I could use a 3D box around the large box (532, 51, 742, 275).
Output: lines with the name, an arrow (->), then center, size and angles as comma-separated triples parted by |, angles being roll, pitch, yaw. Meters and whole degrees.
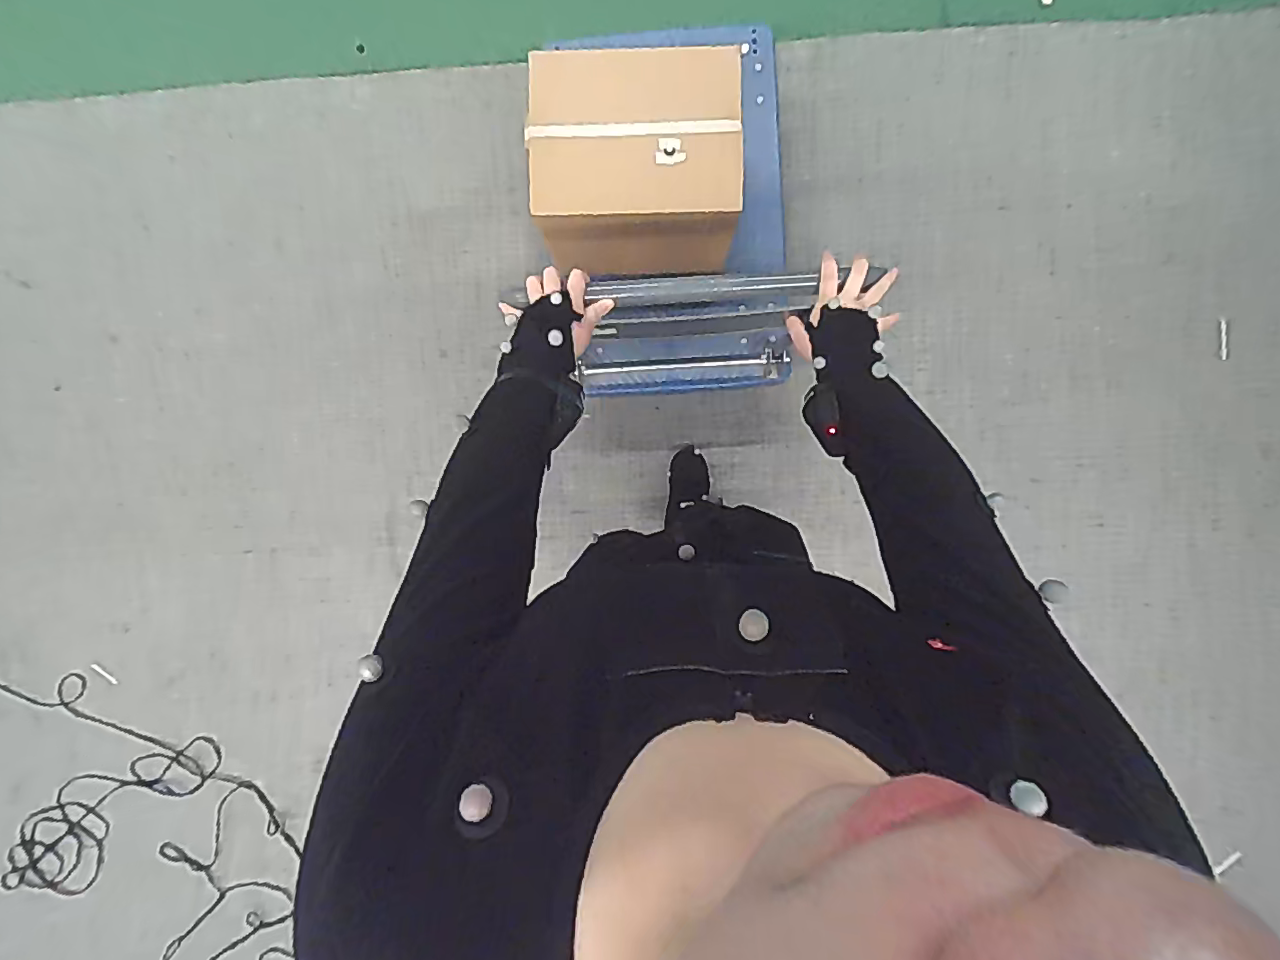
large box -> -0.006, -0.666, 1.190 | 0.408, 0.320, 0.320 | -1, 90, 1
